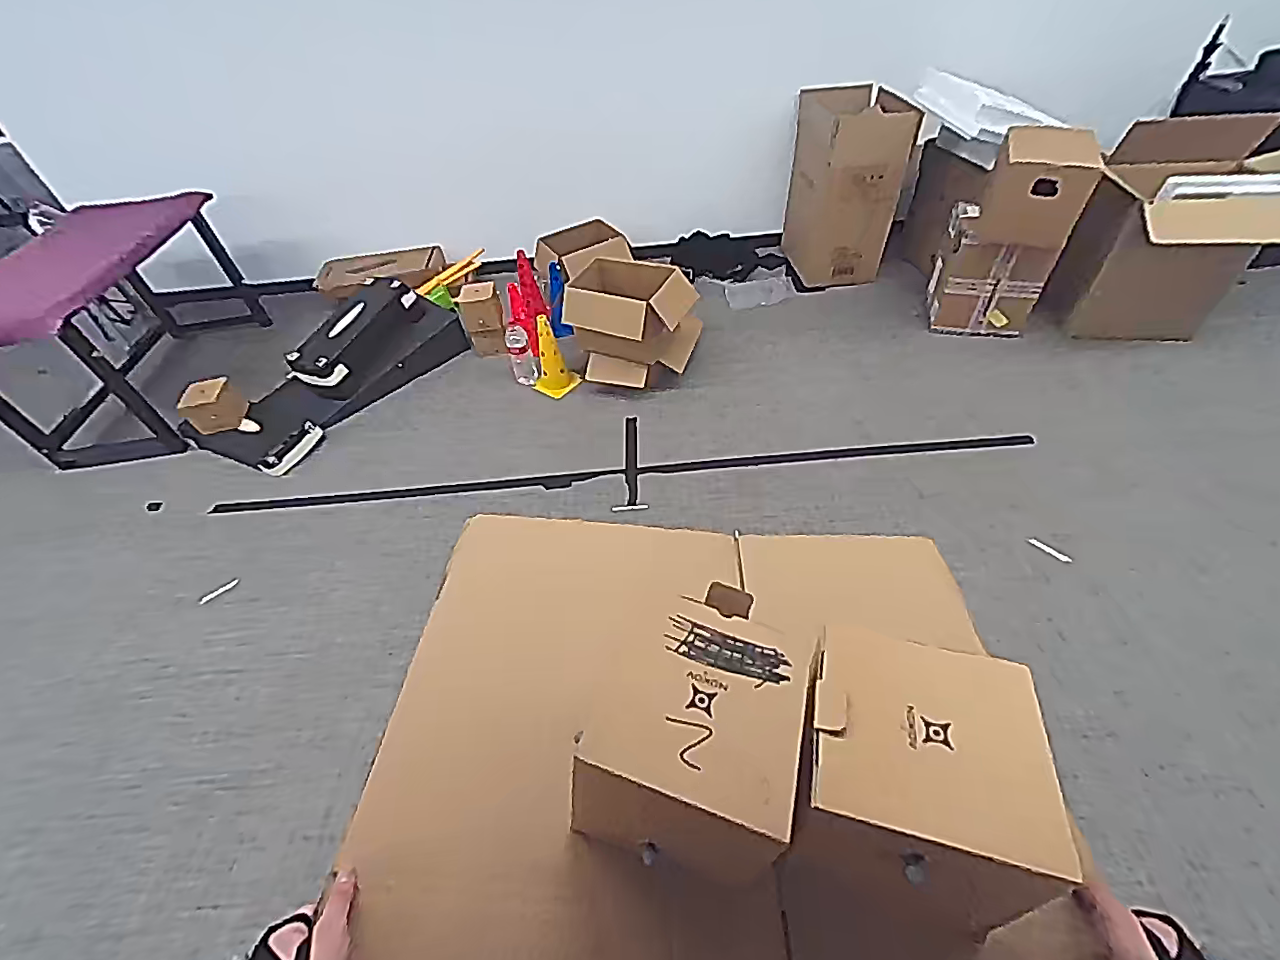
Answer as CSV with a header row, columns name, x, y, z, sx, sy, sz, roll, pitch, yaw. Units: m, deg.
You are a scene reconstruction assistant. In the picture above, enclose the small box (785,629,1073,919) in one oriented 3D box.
name,x,y,z,sx,sy,sz,roll,pitch,yaw
small box,0.240,0.269,0.498,0.179,0.176,0.168,9,43,14
